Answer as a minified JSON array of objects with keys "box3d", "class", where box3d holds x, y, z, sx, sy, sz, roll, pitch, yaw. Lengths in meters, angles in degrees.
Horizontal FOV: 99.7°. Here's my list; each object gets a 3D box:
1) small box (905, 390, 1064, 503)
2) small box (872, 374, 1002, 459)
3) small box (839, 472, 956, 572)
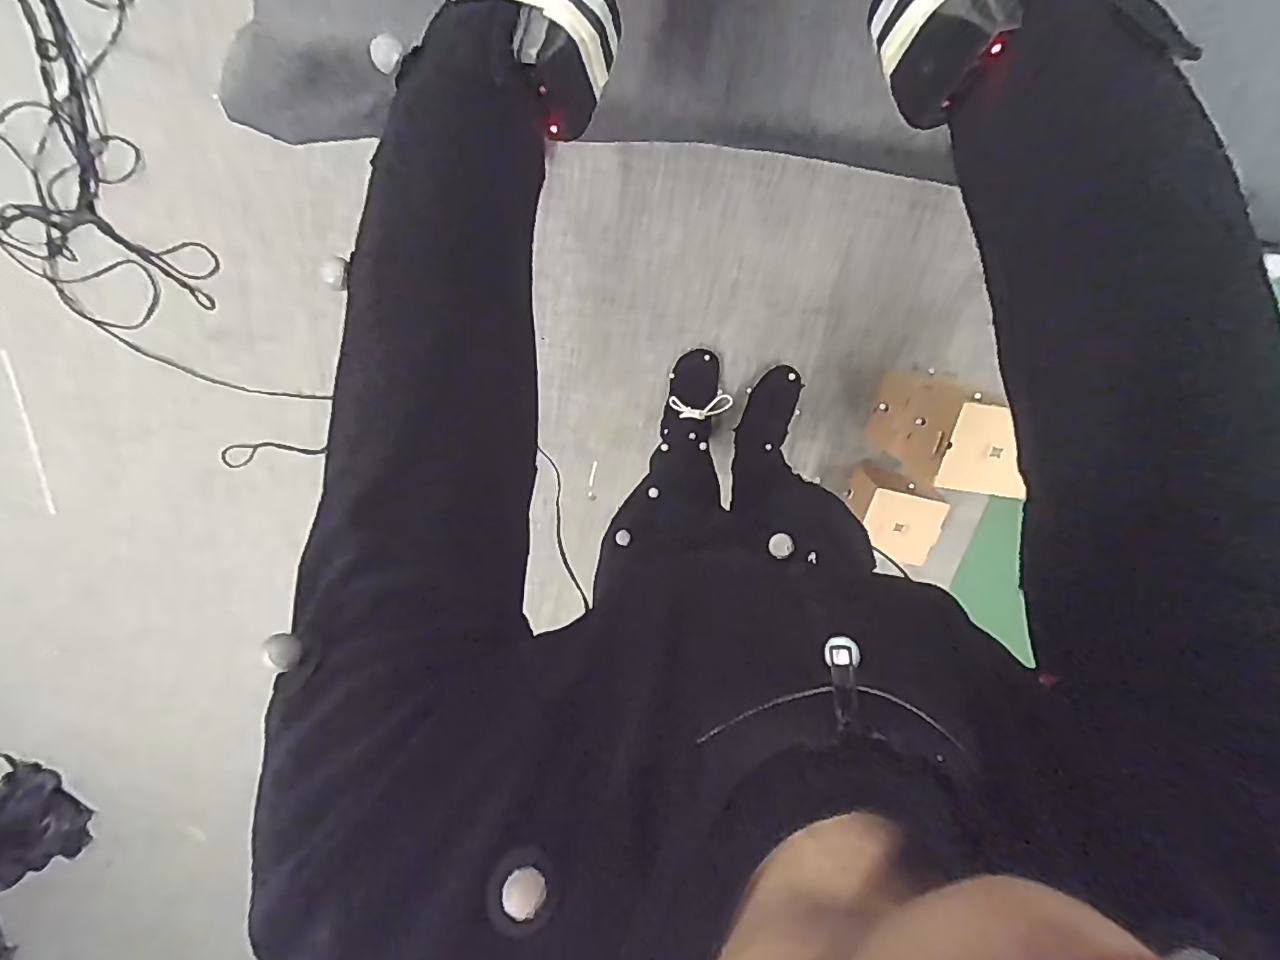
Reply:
[{"box3d":[0.650,-0.072,1.045,0.179,0.176,0.168,8,111,1],"class":"small box"},{"box3d":[0.642,-0.135,1.198,0.179,0.176,0.168,9,110,1],"class":"small box"},{"box3d":[0.602,0.093,1.288,0.179,0.176,0.168,13,110,1],"class":"small box"}]
